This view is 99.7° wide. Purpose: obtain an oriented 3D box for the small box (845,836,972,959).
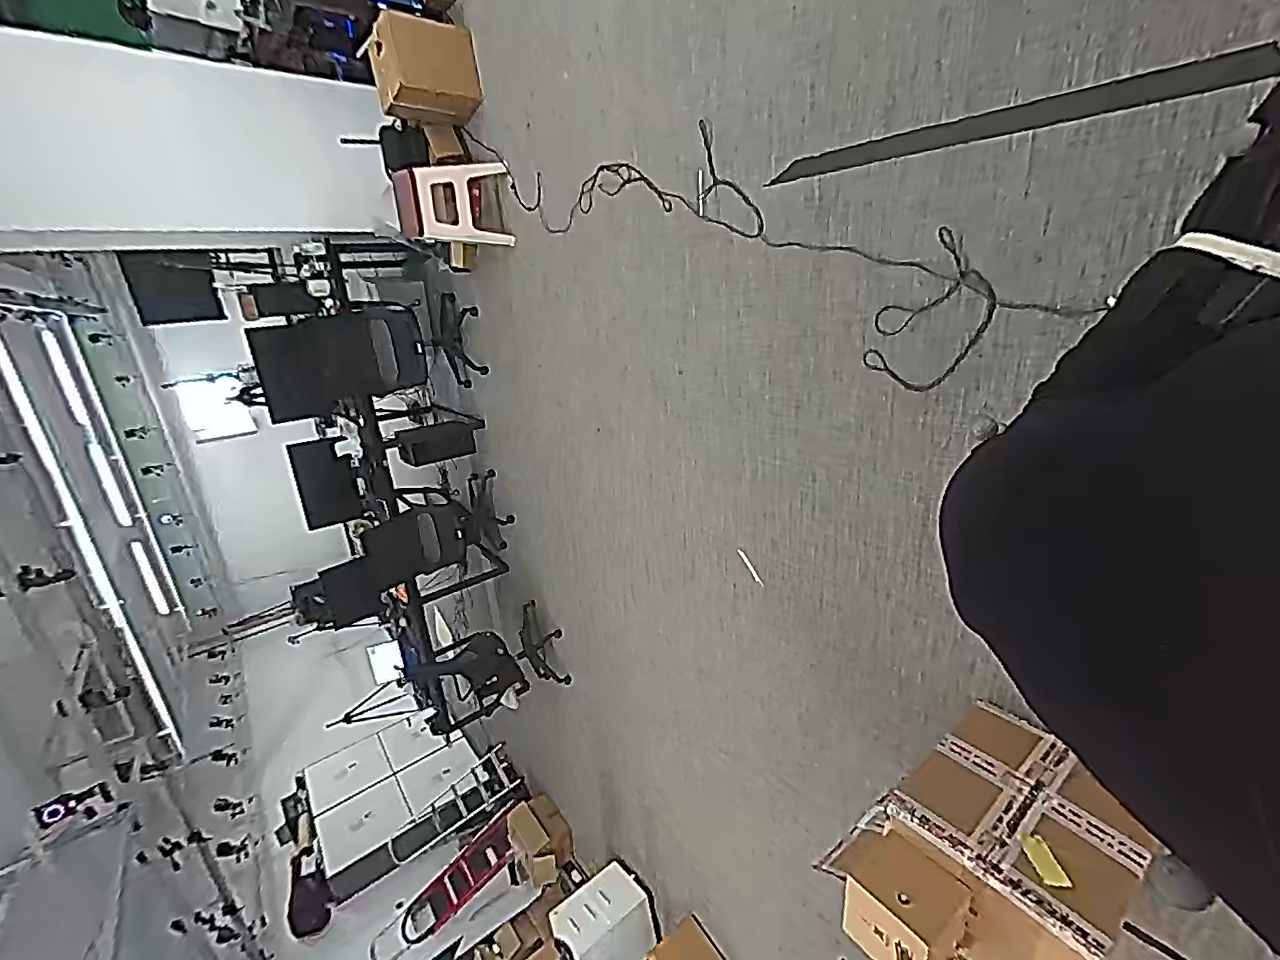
[{"bbox_3d":[0.557,0.898,1.126,0.179,0.176,0.168,21,119,52],"label":"small box"}]
